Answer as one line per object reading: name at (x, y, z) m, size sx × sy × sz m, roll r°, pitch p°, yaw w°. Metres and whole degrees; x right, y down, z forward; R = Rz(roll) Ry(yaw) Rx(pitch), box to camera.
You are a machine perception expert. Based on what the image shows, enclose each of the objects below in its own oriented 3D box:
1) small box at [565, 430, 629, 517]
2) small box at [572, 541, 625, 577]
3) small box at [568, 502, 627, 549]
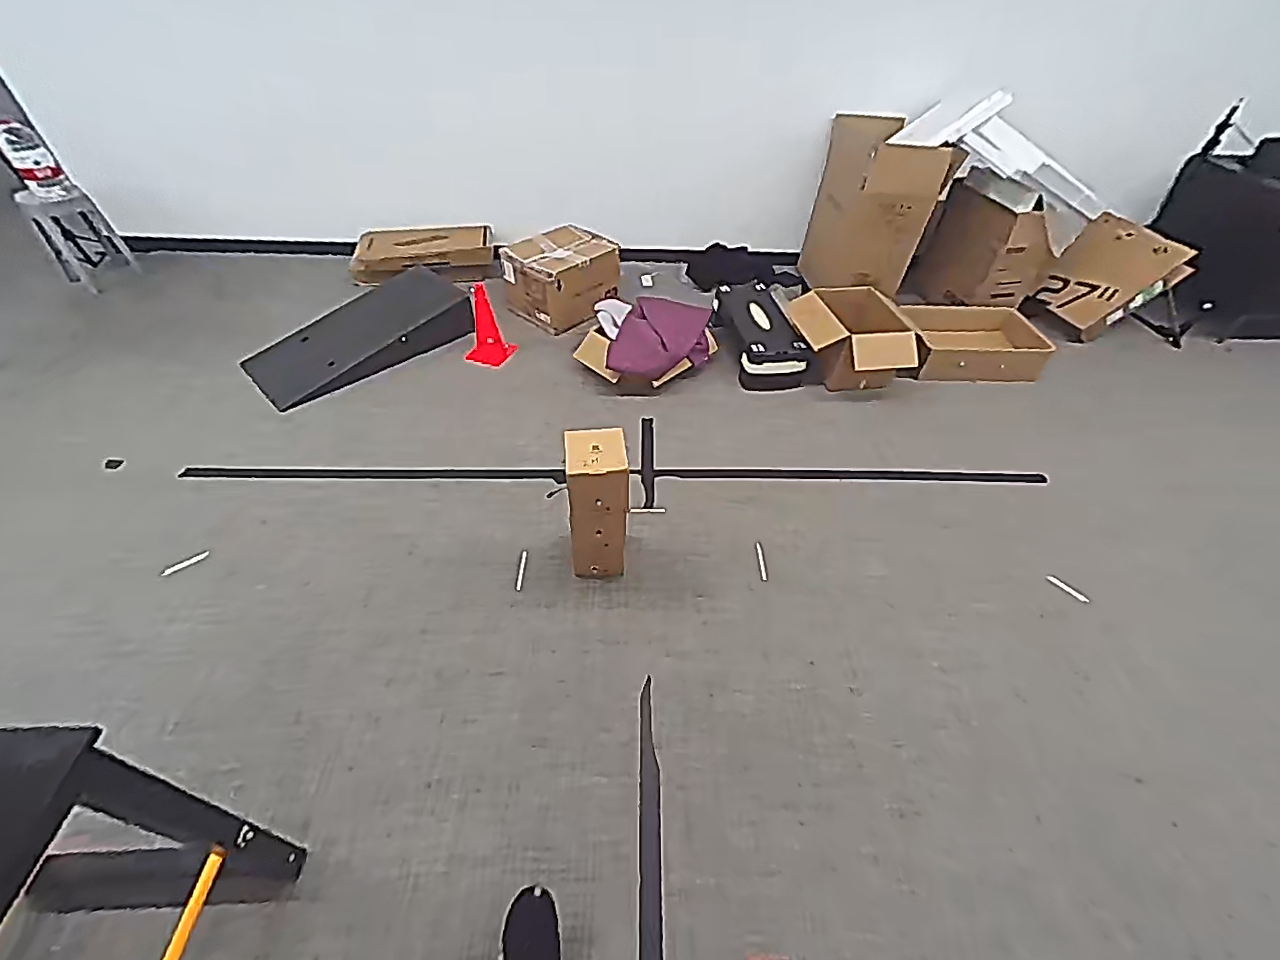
small box at (-0.122, -0.019, 1.521) m, size 0.168 × 0.176 × 0.179 m, roll -5°, pitch 46°, yaw -5°
small box at (-0.134, 0.200, 1.769) m, size 0.168 × 0.176 × 0.179 m, roll -2°, pitch 47°, yaw -3°
small box at (-0.125, 0.097, 1.640) m, size 0.168 × 0.176 × 0.179 m, roll -1°, pitch 46°, yaw -2°
